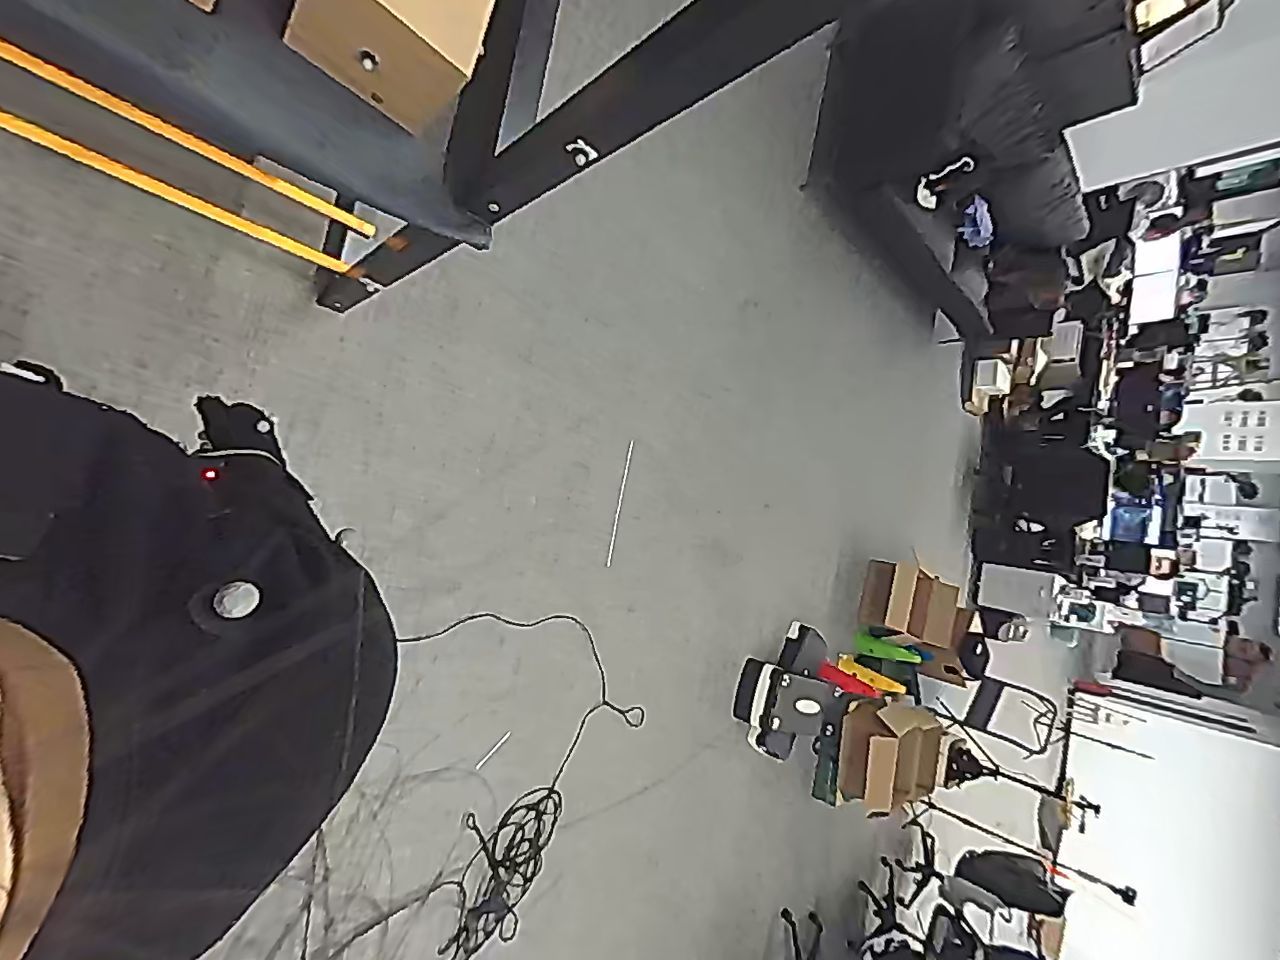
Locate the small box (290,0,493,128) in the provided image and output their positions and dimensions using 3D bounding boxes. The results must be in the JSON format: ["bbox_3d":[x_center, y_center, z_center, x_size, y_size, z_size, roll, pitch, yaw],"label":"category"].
[{"bbox_3d":[-0.292,-0.573,0.644,0.168,0.176,0.179,21,78,-42],"label":"small box"}]
